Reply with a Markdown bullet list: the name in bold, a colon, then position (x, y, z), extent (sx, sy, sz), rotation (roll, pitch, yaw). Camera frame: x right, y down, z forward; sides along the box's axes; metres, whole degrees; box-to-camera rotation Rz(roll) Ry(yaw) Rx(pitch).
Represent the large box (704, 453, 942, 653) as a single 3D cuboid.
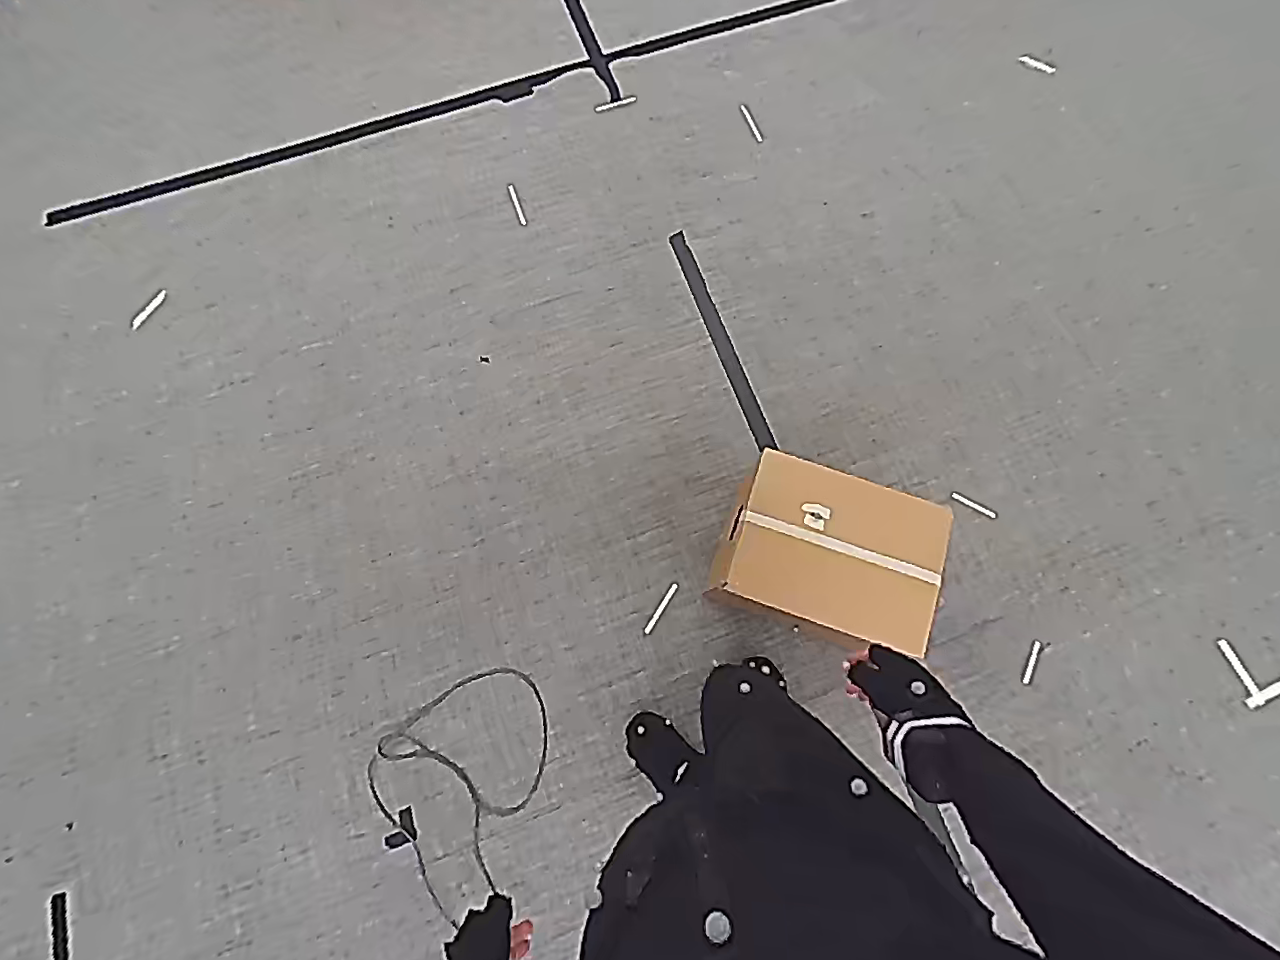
- **large box**: position (0.393, 0.177, 1.238), extent (0.408, 0.320, 0.320), rotation (18, 75, 5)
